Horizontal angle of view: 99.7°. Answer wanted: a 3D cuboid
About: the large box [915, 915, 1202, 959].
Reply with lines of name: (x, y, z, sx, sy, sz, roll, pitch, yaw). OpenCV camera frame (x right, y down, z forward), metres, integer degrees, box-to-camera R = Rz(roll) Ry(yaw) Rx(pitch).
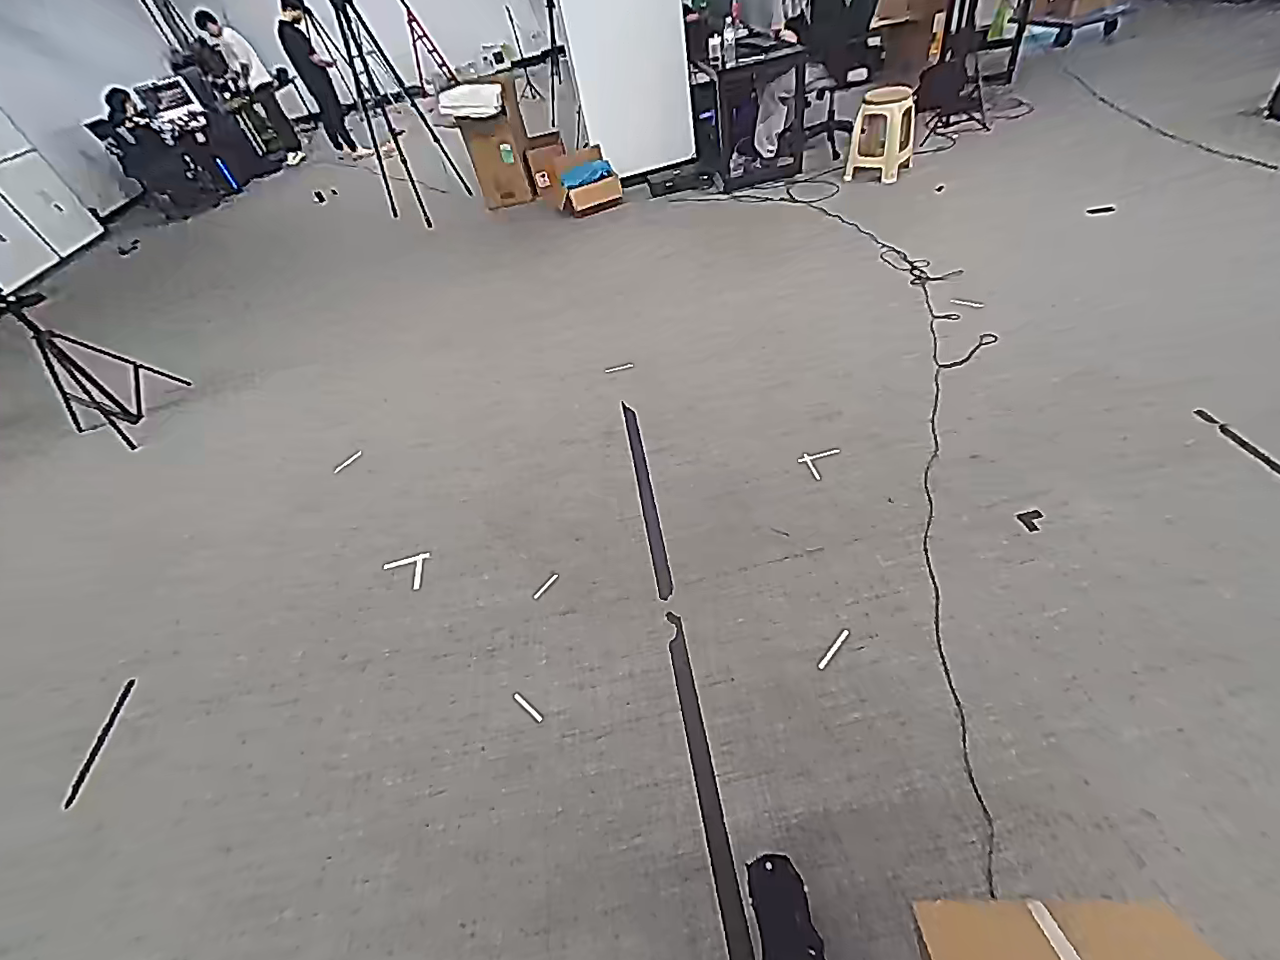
large box: (0.508, 0.731, 0.525, 0.320, 0.408, 0.320, -10, 85, 12)
